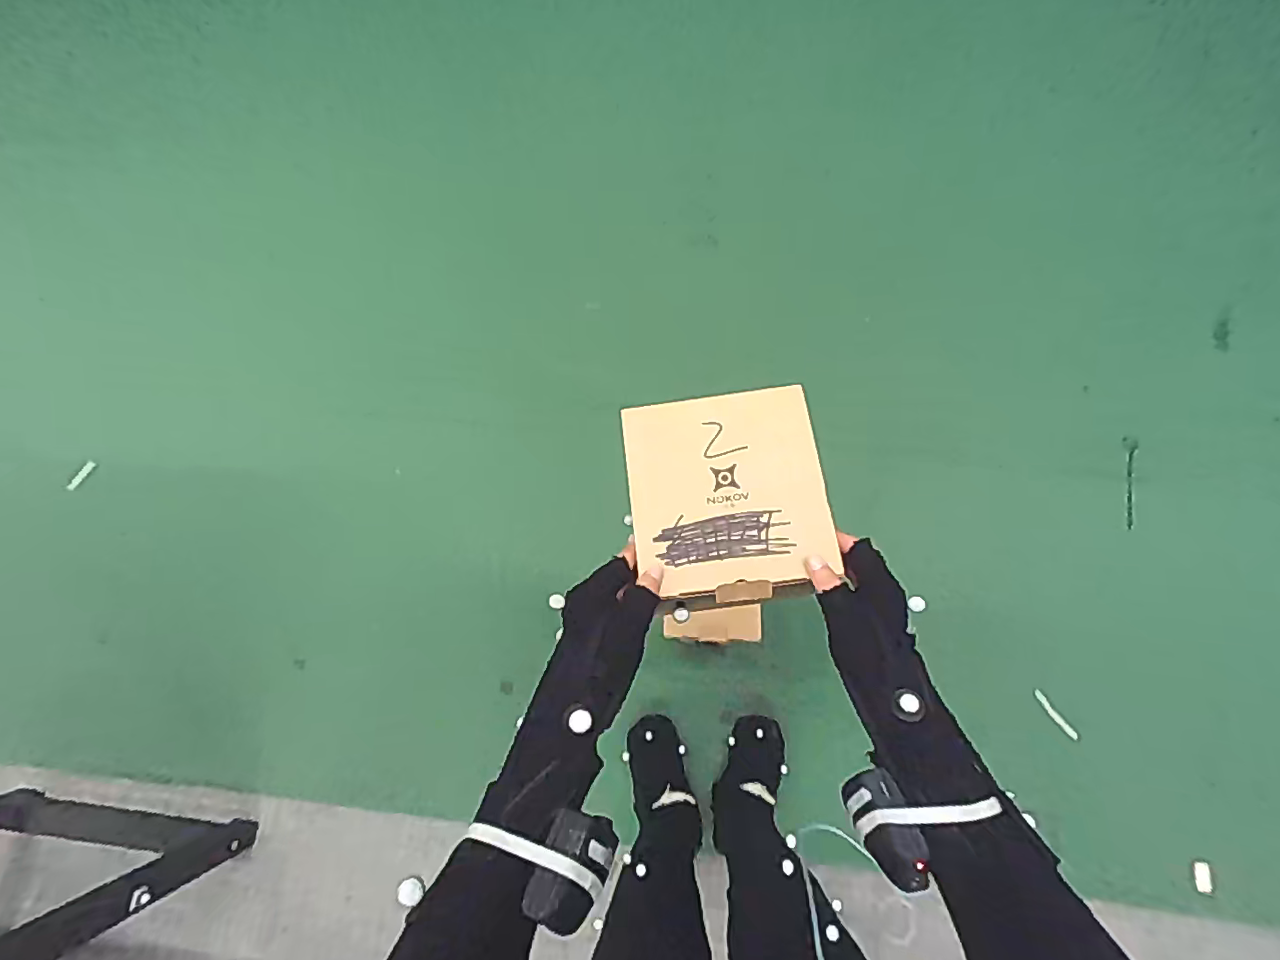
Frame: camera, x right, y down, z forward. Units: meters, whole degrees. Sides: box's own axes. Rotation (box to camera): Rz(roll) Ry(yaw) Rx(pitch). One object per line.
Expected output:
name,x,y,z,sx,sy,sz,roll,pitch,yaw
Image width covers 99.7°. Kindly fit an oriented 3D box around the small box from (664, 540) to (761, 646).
small box,0.131,0.214,1.016,0.168,0.176,0.179,1,76,3
